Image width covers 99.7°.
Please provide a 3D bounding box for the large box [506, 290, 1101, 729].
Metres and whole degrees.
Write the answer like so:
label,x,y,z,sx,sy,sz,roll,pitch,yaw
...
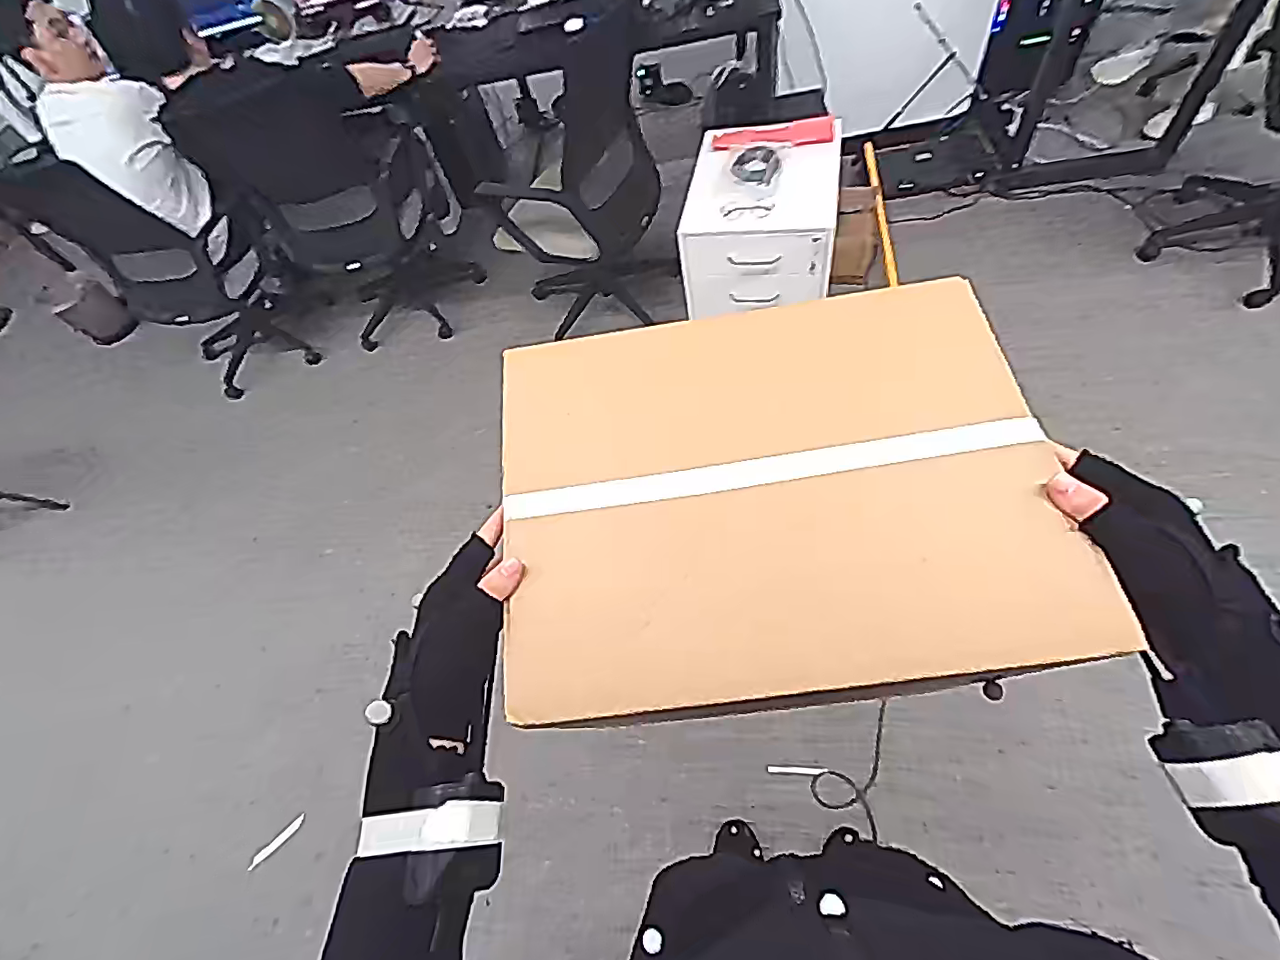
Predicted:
label,x,y,z,sx,sy,sz,roll,pitch,yaw
large box,0.109,0.060,0.559,0.408,0.320,0.320,-9,64,4
